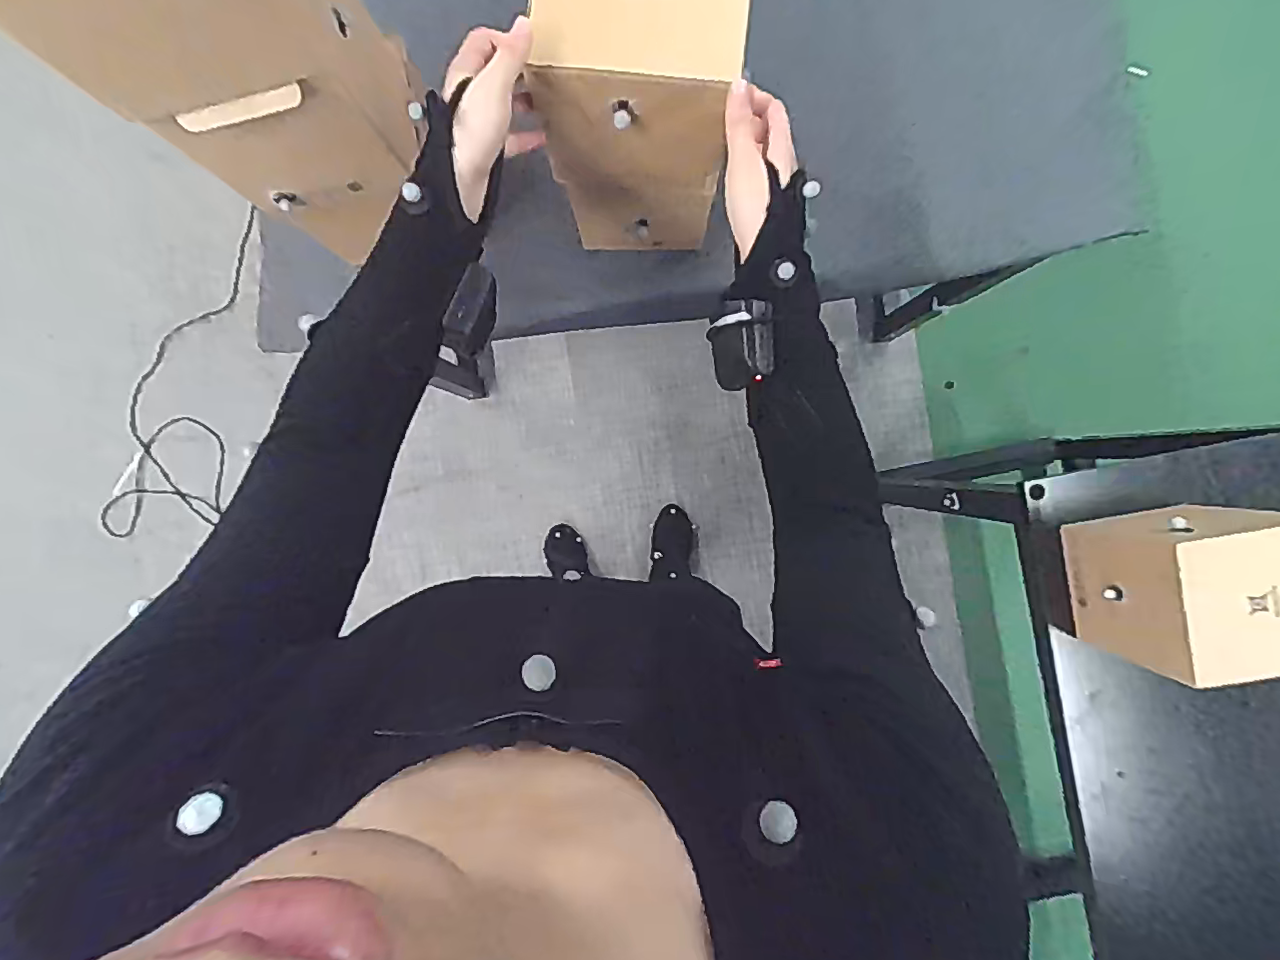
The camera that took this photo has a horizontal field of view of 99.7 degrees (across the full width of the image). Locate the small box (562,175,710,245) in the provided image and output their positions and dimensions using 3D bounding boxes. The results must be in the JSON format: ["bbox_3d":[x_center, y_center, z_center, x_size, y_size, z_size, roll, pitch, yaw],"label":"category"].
[{"bbox_3d":[0.000,-0.404,0.665,0.168,0.176,0.179,0,91,2],"label":"small box"}]

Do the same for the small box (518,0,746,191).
[{"bbox_3d":[0.000,-0.394,0.502,0.179,0.176,0.168,6,90,2],"label":"small box"}]

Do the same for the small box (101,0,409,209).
[{"bbox_3d":[-0.344,-0.385,0.510,0.168,0.176,0.179,-14,88,1],"label":"small box"}]

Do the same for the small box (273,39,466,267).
[{"bbox_3d":[-0.332,-0.389,0.674,0.179,0.176,0.168,-11,90,2],"label":"small box"}]

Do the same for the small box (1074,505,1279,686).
[{"bbox_3d":[0.679,0.129,0.663,0.179,0.176,0.168,-10,92,1],"label":"small box"}]
